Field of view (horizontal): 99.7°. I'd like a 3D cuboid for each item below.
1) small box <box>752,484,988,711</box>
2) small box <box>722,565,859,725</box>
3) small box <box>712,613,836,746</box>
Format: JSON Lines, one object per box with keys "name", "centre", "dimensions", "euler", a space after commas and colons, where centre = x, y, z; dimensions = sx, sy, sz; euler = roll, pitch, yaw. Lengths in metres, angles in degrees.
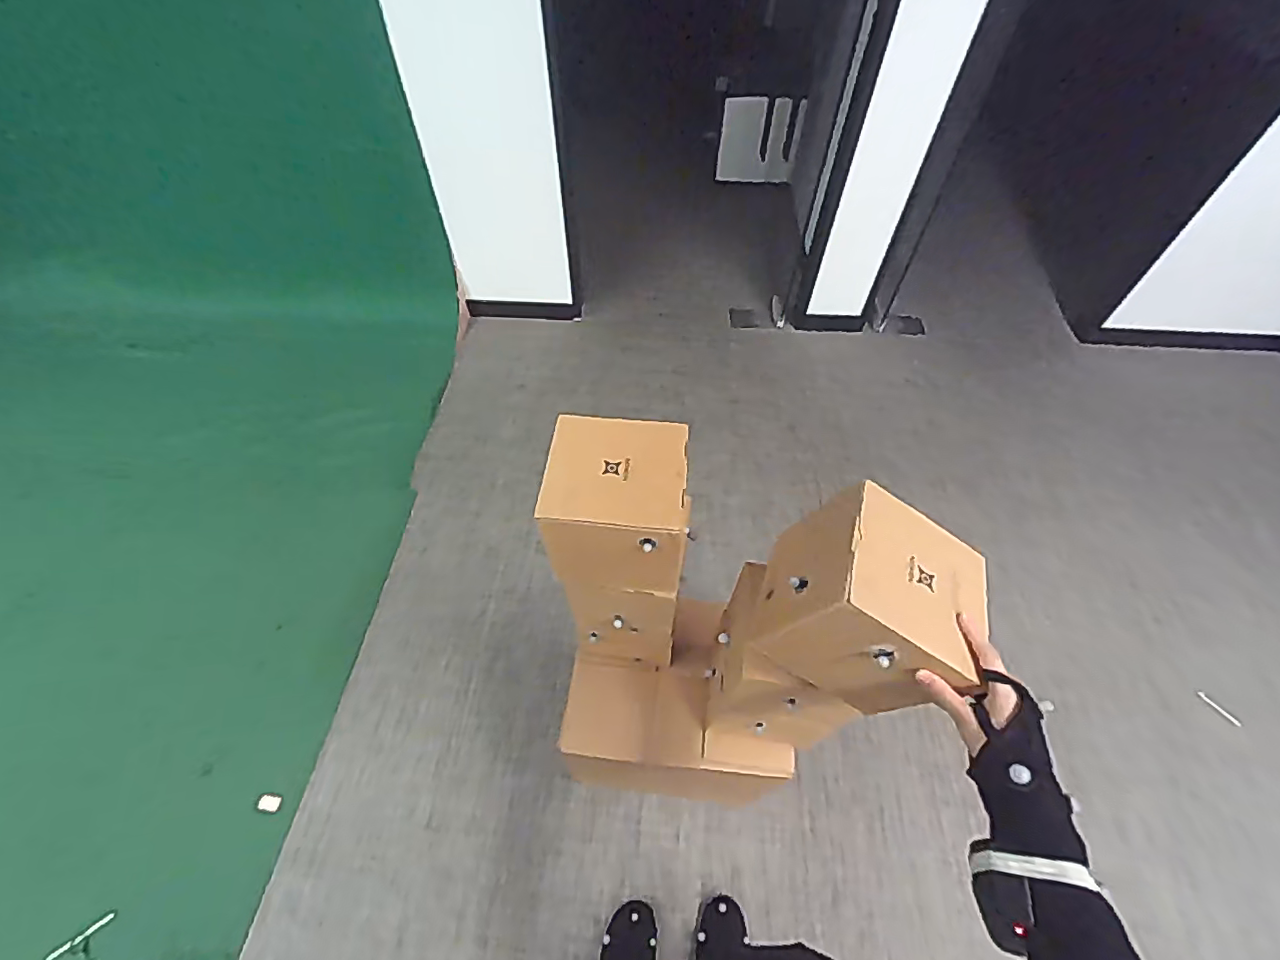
{"name": "small box", "centre": [0.255, 0.143, 0.618], "dimensions": [0.179, 0.176, 0.168], "euler": [33, 51, -6]}
{"name": "small box", "centre": [0.222, 0.245, 0.786], "dimensions": [0.179, 0.176, 0.168], "euler": [7, 54, 5]}
{"name": "small box", "centre": [0.217, 0.342, 0.917], "dimensions": [0.179, 0.176, 0.168], "euler": [6, 56, 5]}
